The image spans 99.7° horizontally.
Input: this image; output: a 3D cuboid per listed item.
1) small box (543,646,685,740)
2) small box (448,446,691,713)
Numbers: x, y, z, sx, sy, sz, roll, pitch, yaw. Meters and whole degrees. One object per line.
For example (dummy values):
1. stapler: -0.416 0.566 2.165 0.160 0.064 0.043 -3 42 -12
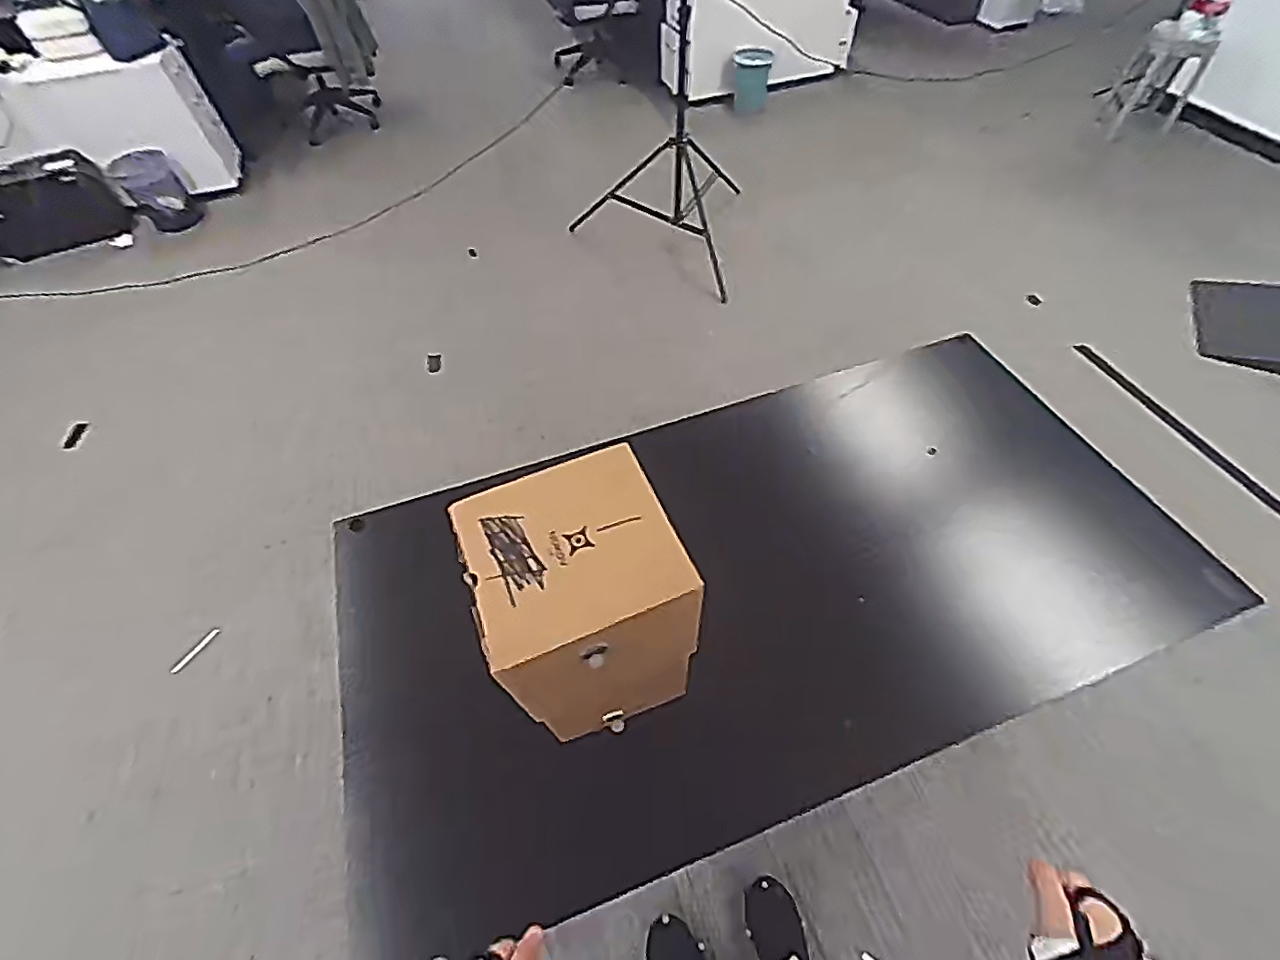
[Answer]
1. small box: -0.055 0.192 0.666 0.168 0.176 0.179 -20 57 -10
2. small box: -0.062 0.102 0.528 0.179 0.176 0.168 -21 56 -11
